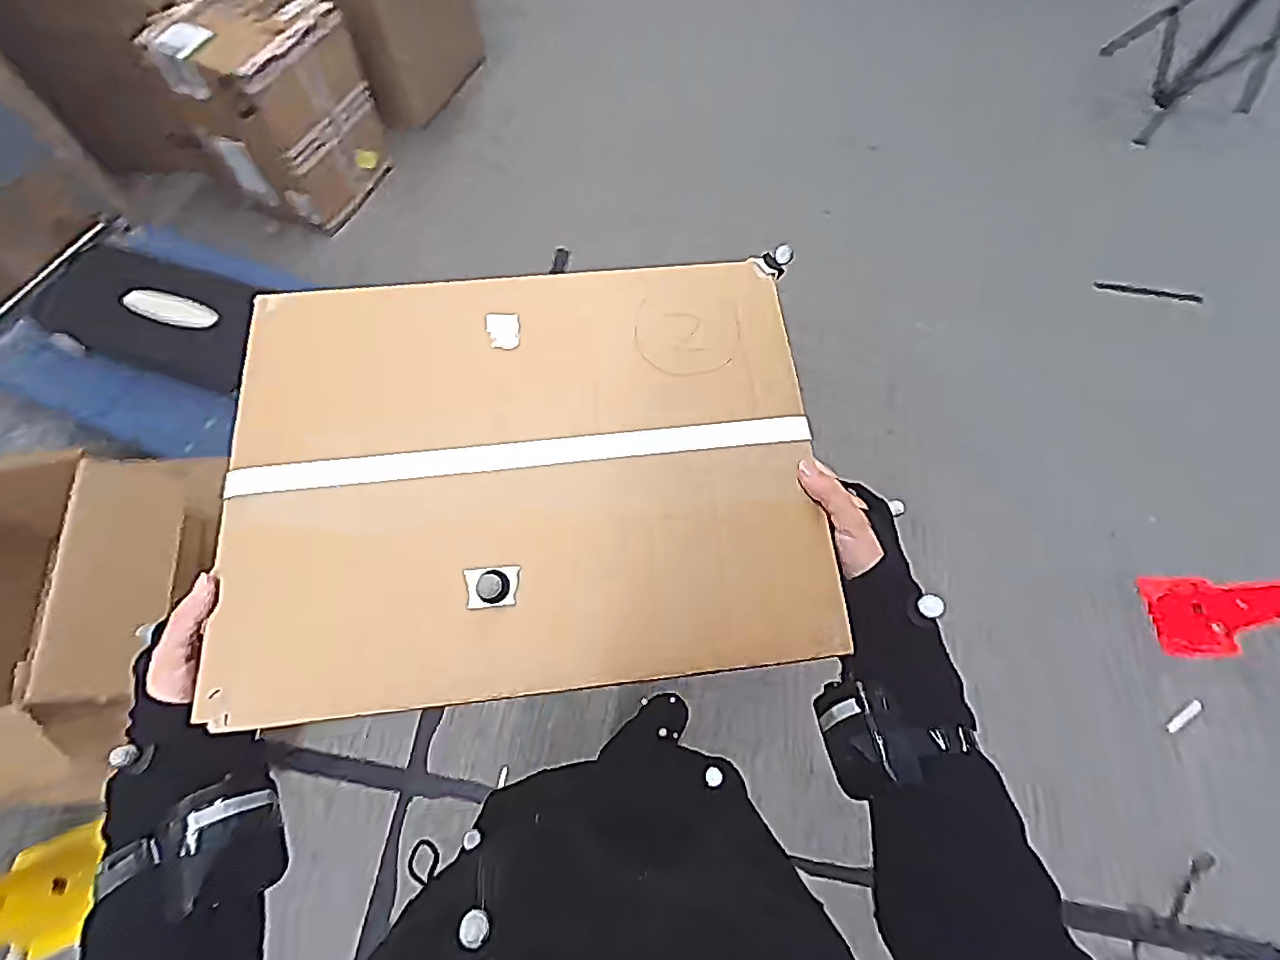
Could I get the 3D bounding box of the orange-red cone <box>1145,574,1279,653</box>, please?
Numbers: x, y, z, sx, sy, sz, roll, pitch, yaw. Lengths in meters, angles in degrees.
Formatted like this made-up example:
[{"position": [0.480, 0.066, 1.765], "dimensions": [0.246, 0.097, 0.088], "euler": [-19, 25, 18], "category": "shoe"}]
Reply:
[{"position": [1.419, 0.267, 1.225], "dimensions": [0.198, 0.360, 0.199], "euler": [1, 65, -2], "category": "orange-red cone"}]
